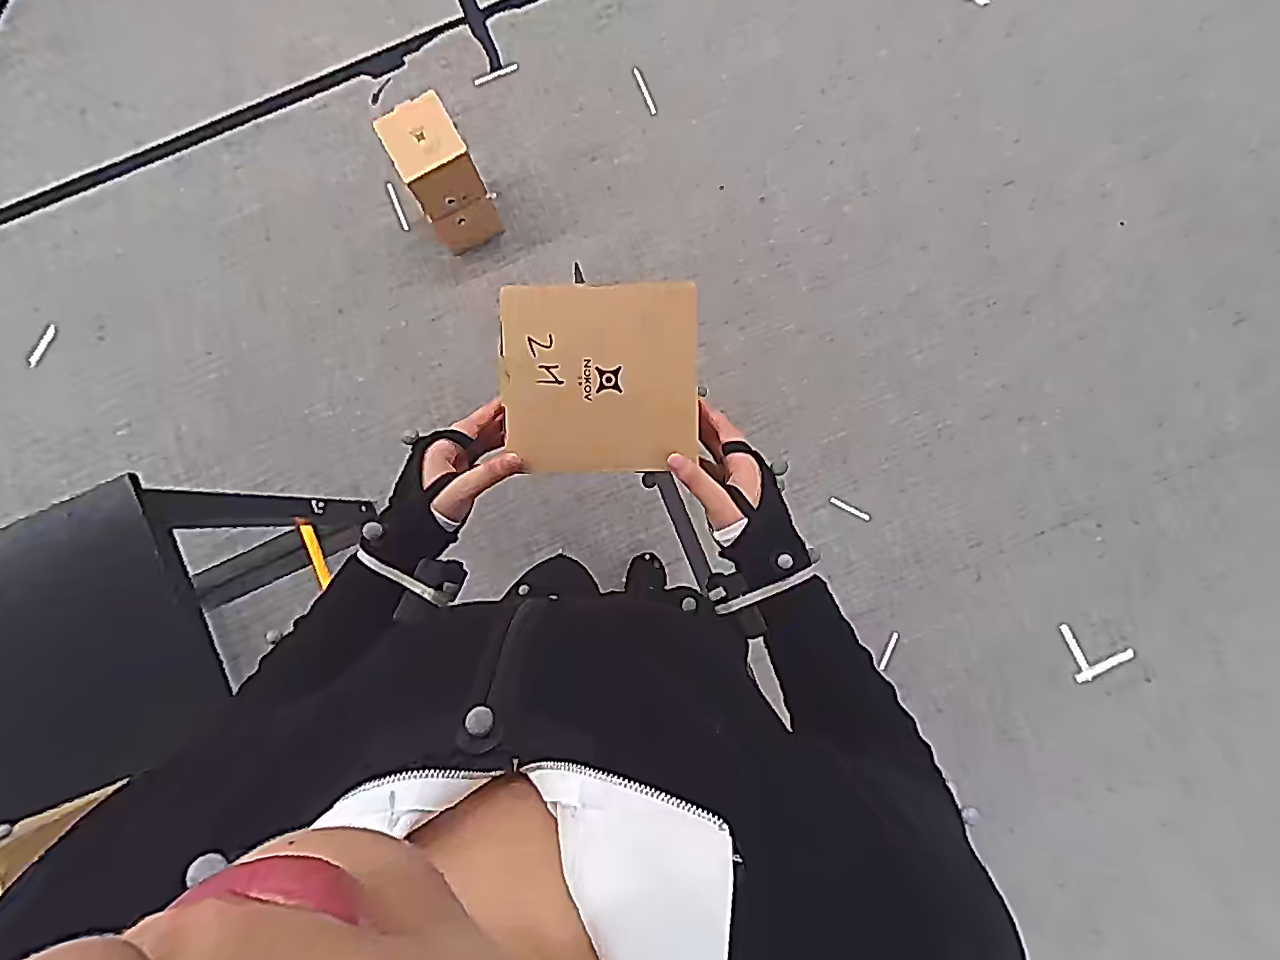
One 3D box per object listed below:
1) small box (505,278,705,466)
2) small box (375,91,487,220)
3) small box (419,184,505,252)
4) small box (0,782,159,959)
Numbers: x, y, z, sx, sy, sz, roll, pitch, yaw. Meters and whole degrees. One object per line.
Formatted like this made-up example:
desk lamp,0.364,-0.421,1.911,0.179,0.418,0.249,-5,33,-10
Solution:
small box,-0.029,-0.100,0.555,0.179,0.176,0.168,-1,93,2
small box,-0.503,-0.784,1.323,0.168,0.176,0.179,-30,87,-1
small box,-0.498,-0.761,1.485,0.179,0.176,0.168,-26,86,-2
small box,-0.747,0.510,0.662,0.179,0.176,0.168,-22,86,-1
